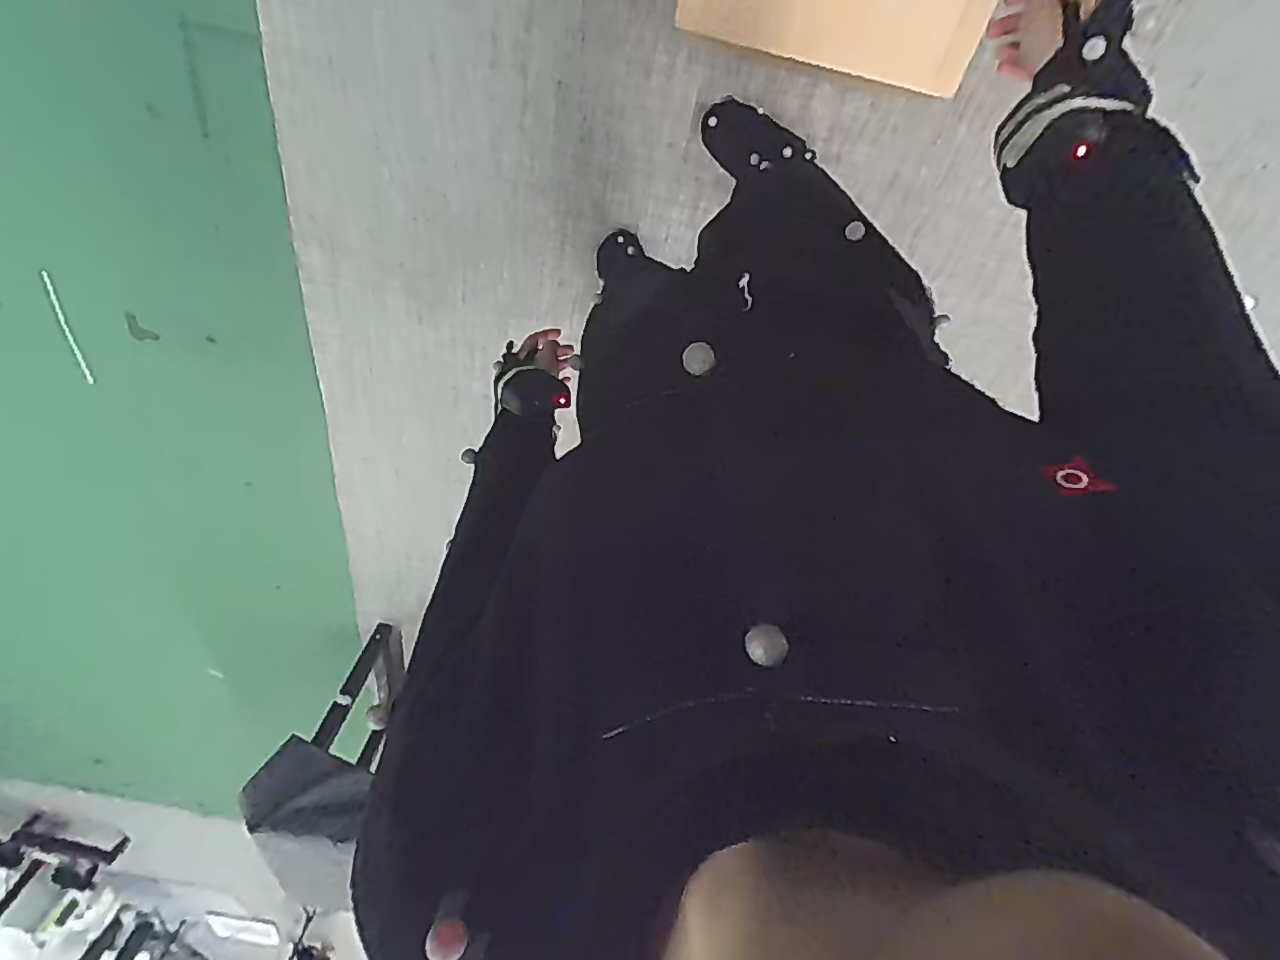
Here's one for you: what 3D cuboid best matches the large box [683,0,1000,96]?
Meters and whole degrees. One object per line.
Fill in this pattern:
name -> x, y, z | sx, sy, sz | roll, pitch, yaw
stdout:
large box -> 0.287, -0.779, 0.774 | 0.408, 0.320, 0.320 | 11, 127, -4

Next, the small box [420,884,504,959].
small box -> -0.514, 1.301, 1.566 | 0.179, 0.176, 0.168 | 19, 127, -9
